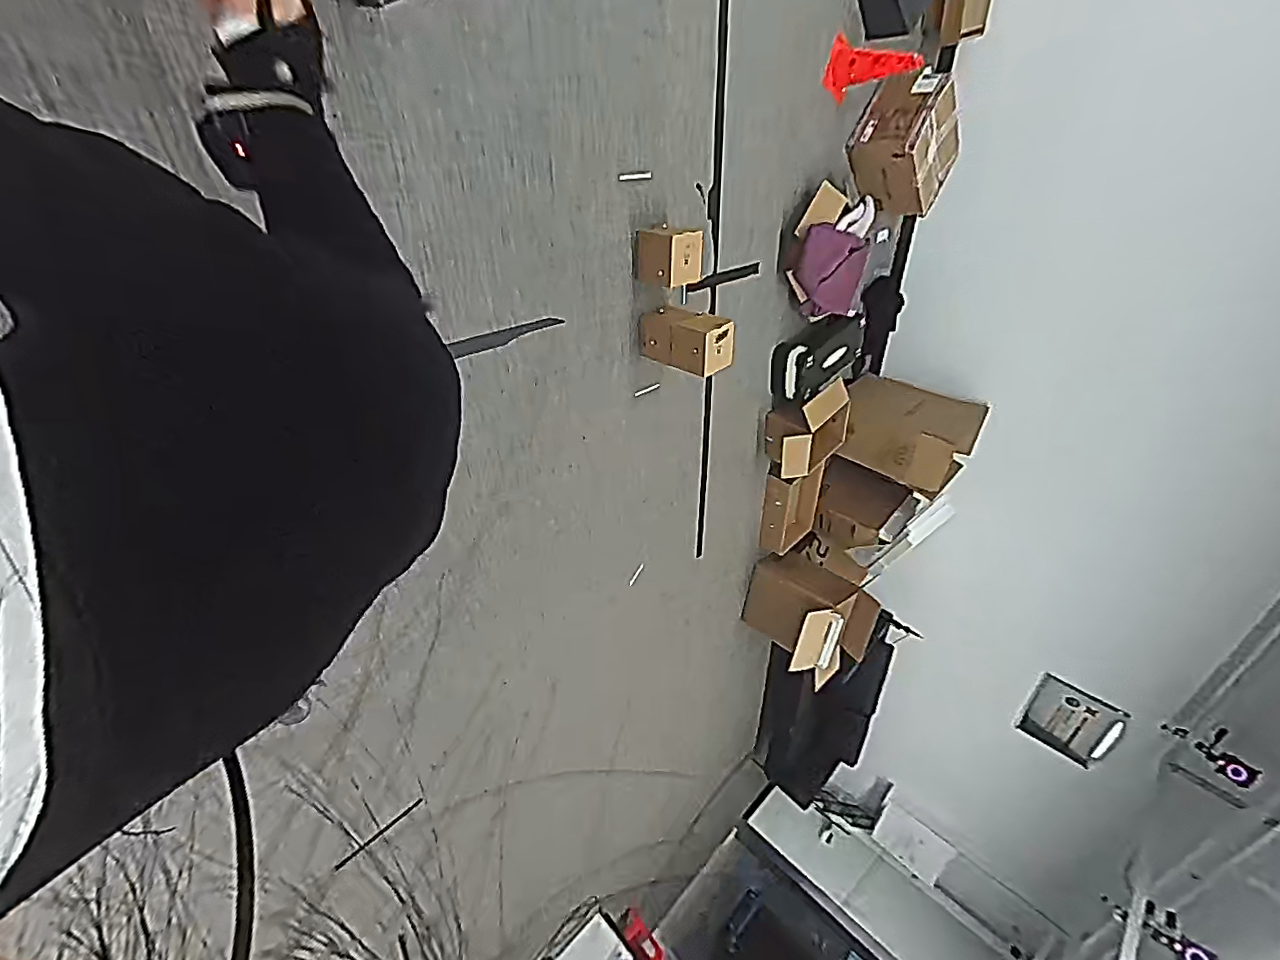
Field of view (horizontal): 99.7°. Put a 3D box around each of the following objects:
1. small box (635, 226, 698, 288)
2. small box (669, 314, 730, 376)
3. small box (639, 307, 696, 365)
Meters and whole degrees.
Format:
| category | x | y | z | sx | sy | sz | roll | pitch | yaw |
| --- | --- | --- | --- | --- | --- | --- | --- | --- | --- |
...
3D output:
| category | x | y | z | sx | sy | sz | roll | pitch | yaw |
| --- | --- | --- | --- | --- | --- | --- | --- | --- | --- |
| small box | 0.092 | -0.818 | 1.976 | 0.168 | 0.176 | 0.179 | -29 | 132 | -37 |
| small box | 0.222 | -0.517 | 2.046 | 0.168 | 0.176 | 0.179 | -32 | 135 | -34 |
| small box | 0.107 | -0.576 | 2.151 | 0.179 | 0.176 | 0.168 | -32 | 134 | -33 |
